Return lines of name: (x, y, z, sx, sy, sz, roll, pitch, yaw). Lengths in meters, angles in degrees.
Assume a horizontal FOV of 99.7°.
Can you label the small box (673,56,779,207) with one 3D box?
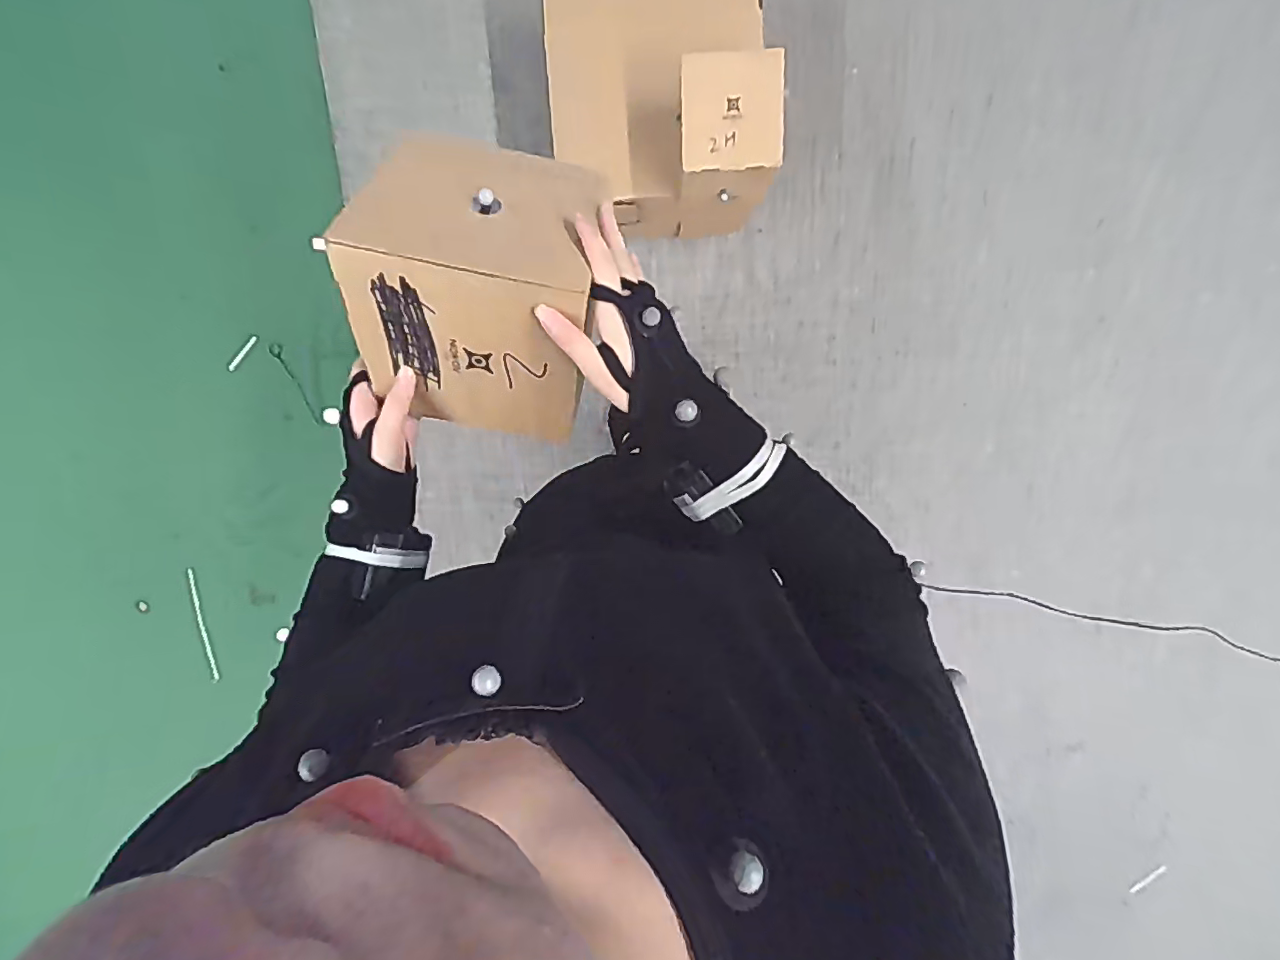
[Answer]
small box: (0.145, -0.605, 0.957, 0.168, 0.176, 0.179, -2, 101, 2)
